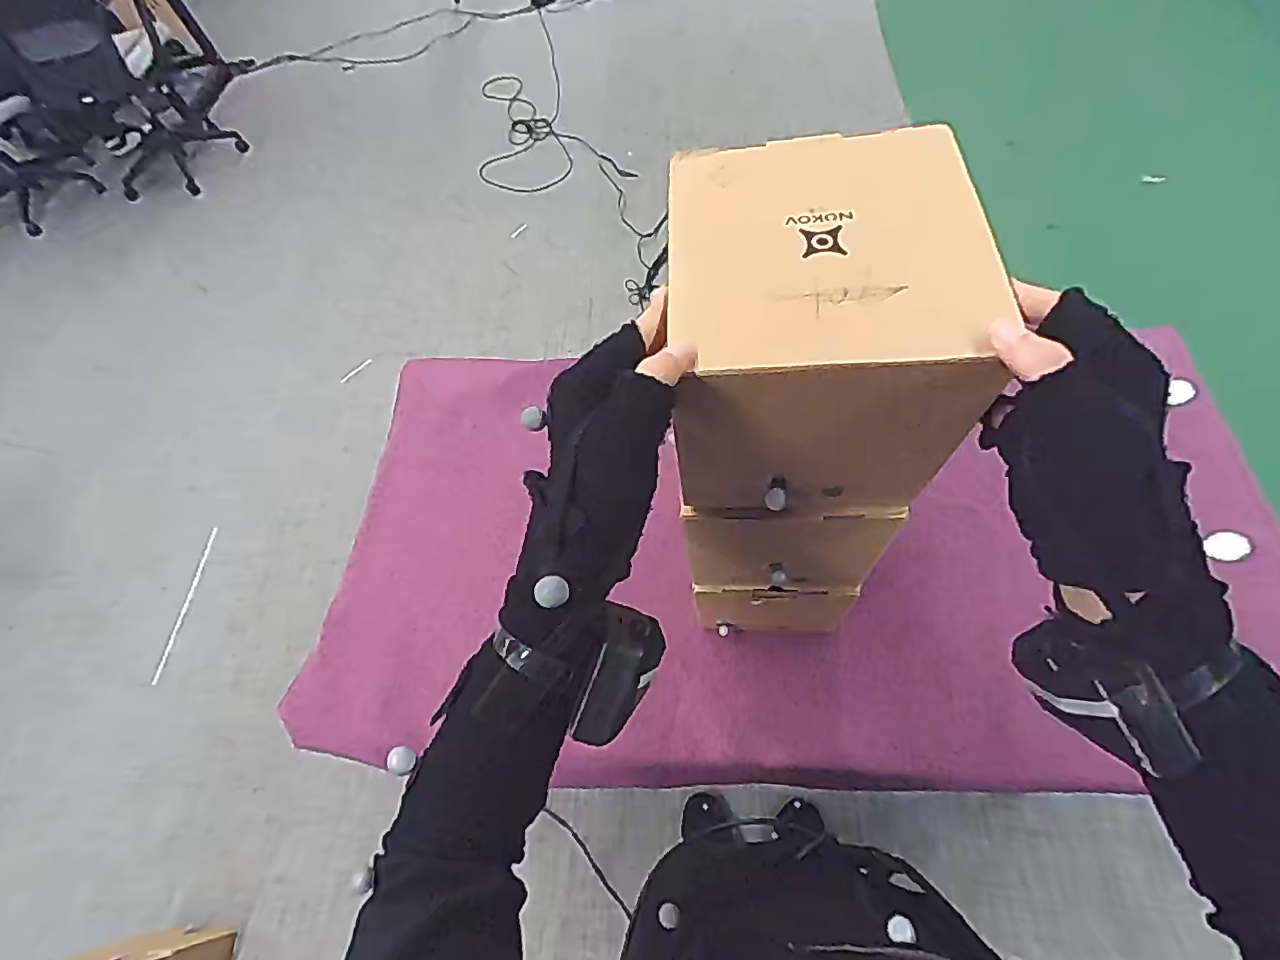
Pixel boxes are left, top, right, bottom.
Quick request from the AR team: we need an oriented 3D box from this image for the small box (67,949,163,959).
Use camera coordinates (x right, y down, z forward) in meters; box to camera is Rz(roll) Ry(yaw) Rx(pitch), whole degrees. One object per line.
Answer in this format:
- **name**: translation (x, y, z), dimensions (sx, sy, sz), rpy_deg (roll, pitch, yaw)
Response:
- **small box**: translation (-1.034, 0.993, 0.983), dimensions (0.168, 0.176, 0.179), rpy_deg (-3, 60, 7)

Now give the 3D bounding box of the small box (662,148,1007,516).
- **small box**: translation (0.105, -0.089, 0.371), dimensions (0.168, 0.176, 0.179), rpy_deg (-1, 63, 8)

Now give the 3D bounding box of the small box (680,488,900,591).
- **small box**: translation (0.127, -0.005, 0.517), dimensions (0.168, 0.176, 0.179), rpy_deg (-1, 61, 9)

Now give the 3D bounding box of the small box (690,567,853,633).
- **small box**: translation (0.151, 0.081, 0.655), dimensions (0.168, 0.176, 0.179), rpy_deg (0, 61, 9)
